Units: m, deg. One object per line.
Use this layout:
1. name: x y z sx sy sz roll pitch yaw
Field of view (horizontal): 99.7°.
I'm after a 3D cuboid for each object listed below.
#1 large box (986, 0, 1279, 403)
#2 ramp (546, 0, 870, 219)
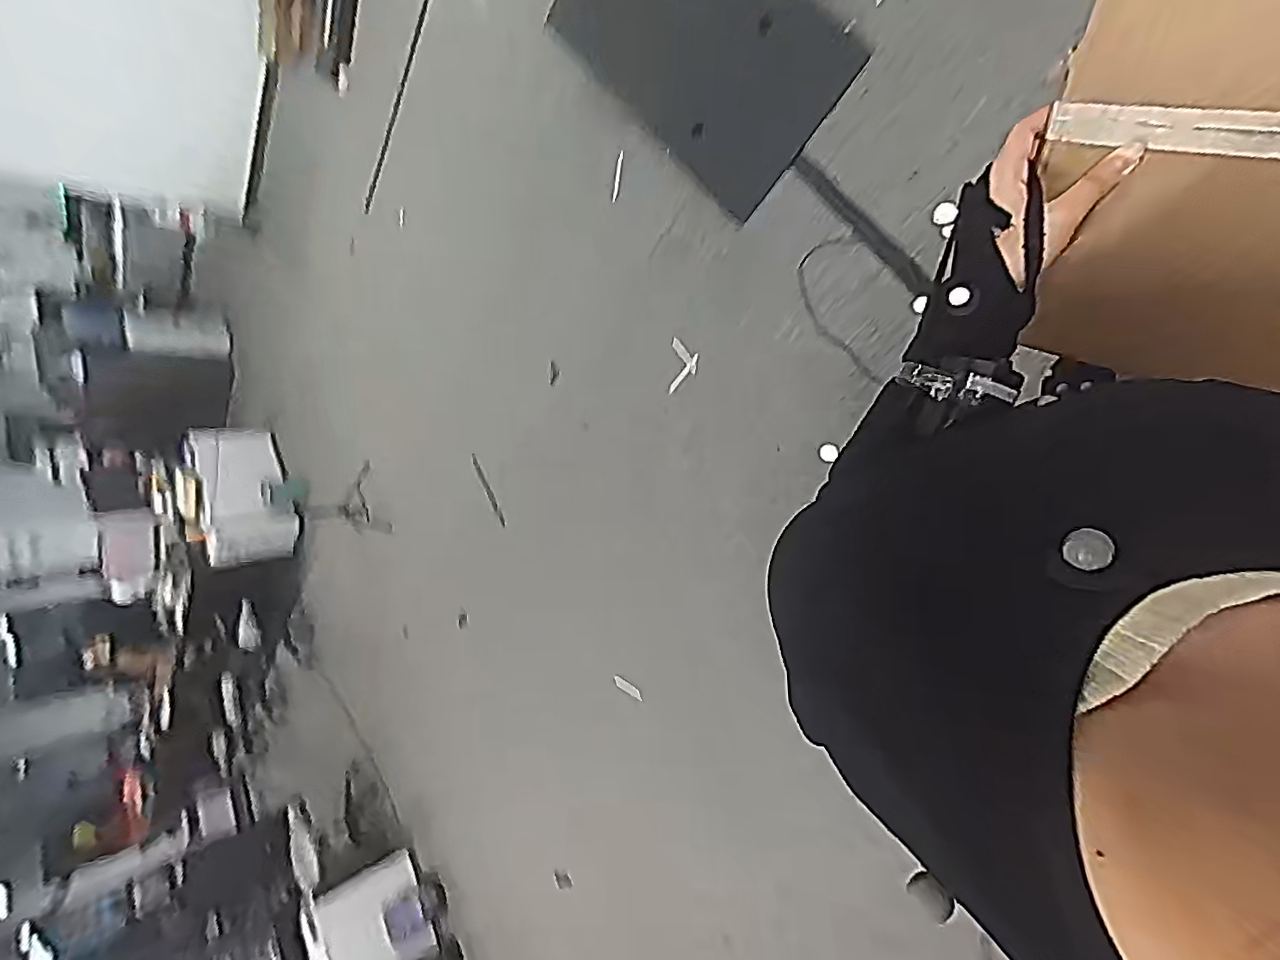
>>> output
1. large box: 0.511 -0.241 0.316 0.408 0.320 0.320 28 147 34
2. ramp: 0.131 -1.280 1.544 0.509 0.206 0.991 -49 65 33
